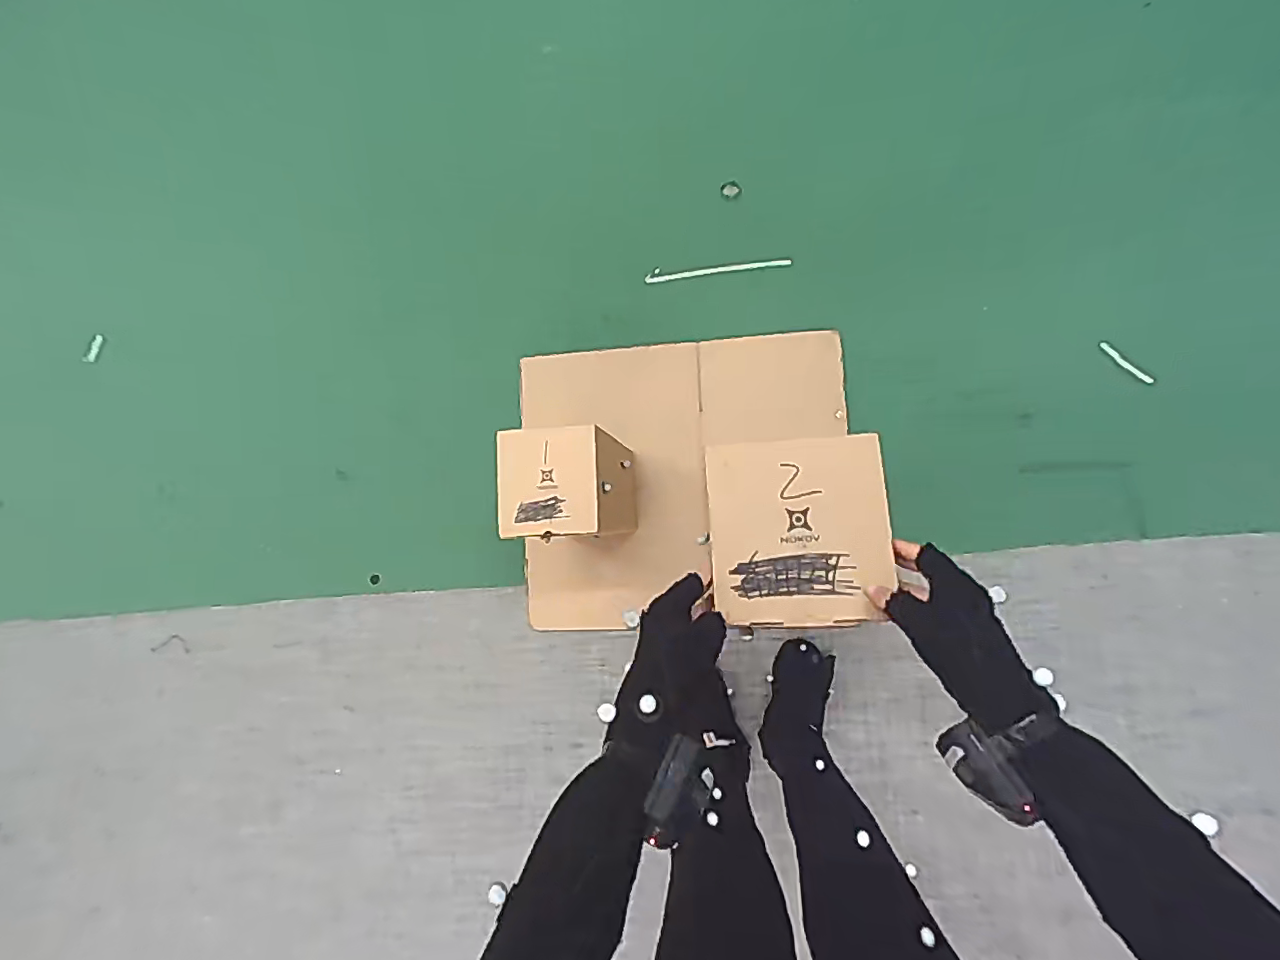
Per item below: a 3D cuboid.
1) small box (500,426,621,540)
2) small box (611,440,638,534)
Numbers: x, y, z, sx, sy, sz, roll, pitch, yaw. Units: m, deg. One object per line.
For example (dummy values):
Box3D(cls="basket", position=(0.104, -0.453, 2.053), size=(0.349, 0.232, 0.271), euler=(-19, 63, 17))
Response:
Box3D(cls="small box", position=(-0.130, 0.011, 0.929), size=(0.168, 0.176, 0.179), euler=(-3, 84, 10))
Box3D(cls="small box", position=(-0.101, 0.024, 1.091), size=(0.168, 0.176, 0.179), euler=(-5, 85, 10))
